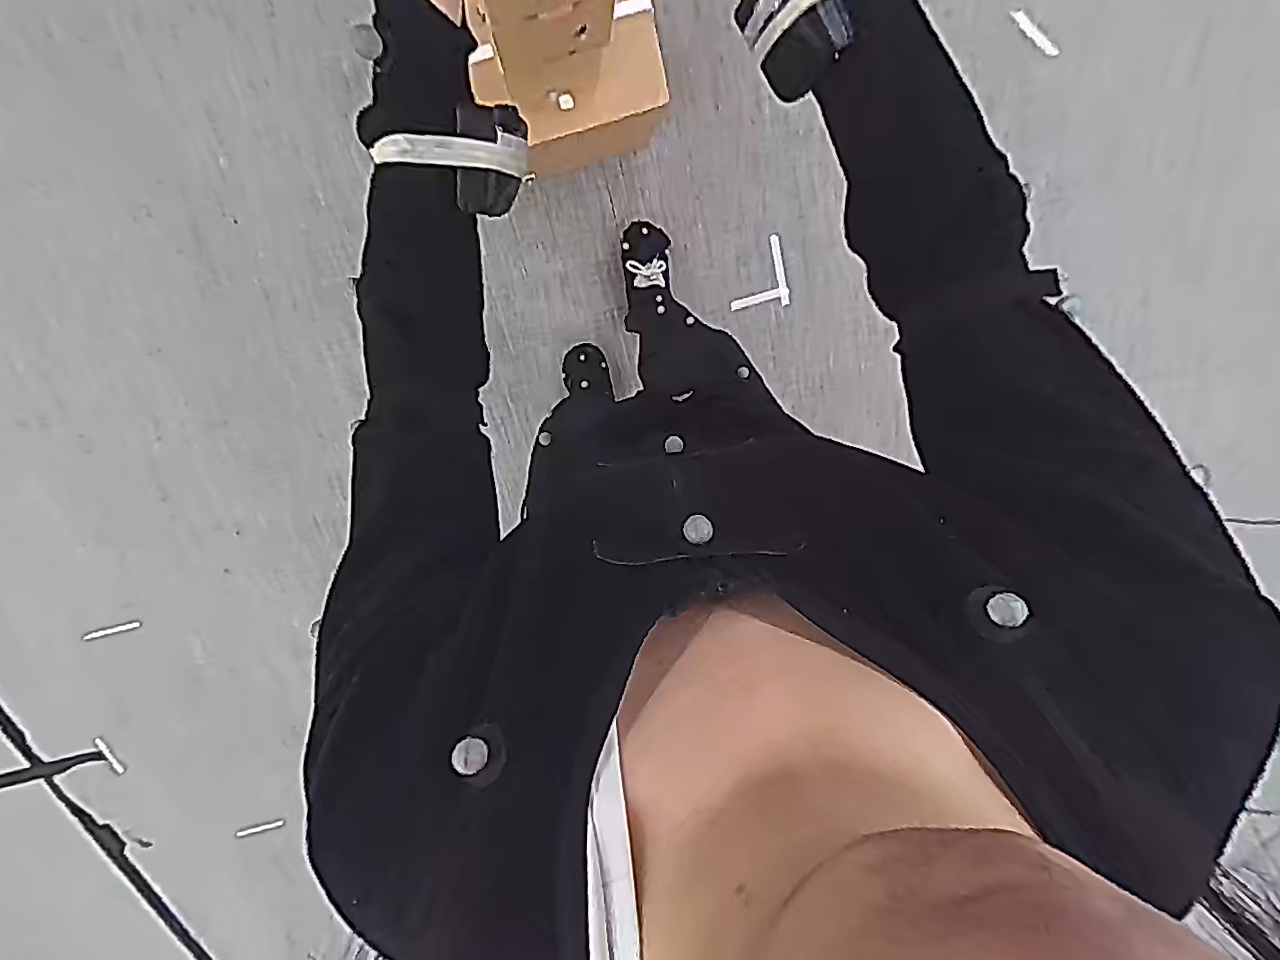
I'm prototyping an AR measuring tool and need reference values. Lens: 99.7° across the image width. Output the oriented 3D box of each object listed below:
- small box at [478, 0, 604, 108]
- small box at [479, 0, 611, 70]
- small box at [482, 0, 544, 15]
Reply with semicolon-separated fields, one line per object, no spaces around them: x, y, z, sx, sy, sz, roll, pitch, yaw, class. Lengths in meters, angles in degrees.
-0.163;-0.734;0.859;0.168;0.176;0.179;-17;111;-1;small box
-0.138;-0.678;0.709;0.168;0.176;0.179;-19;109;-1;small box
-0.124;-0.627;0.553;0.168;0.176;0.179;-23;110;0;small box
